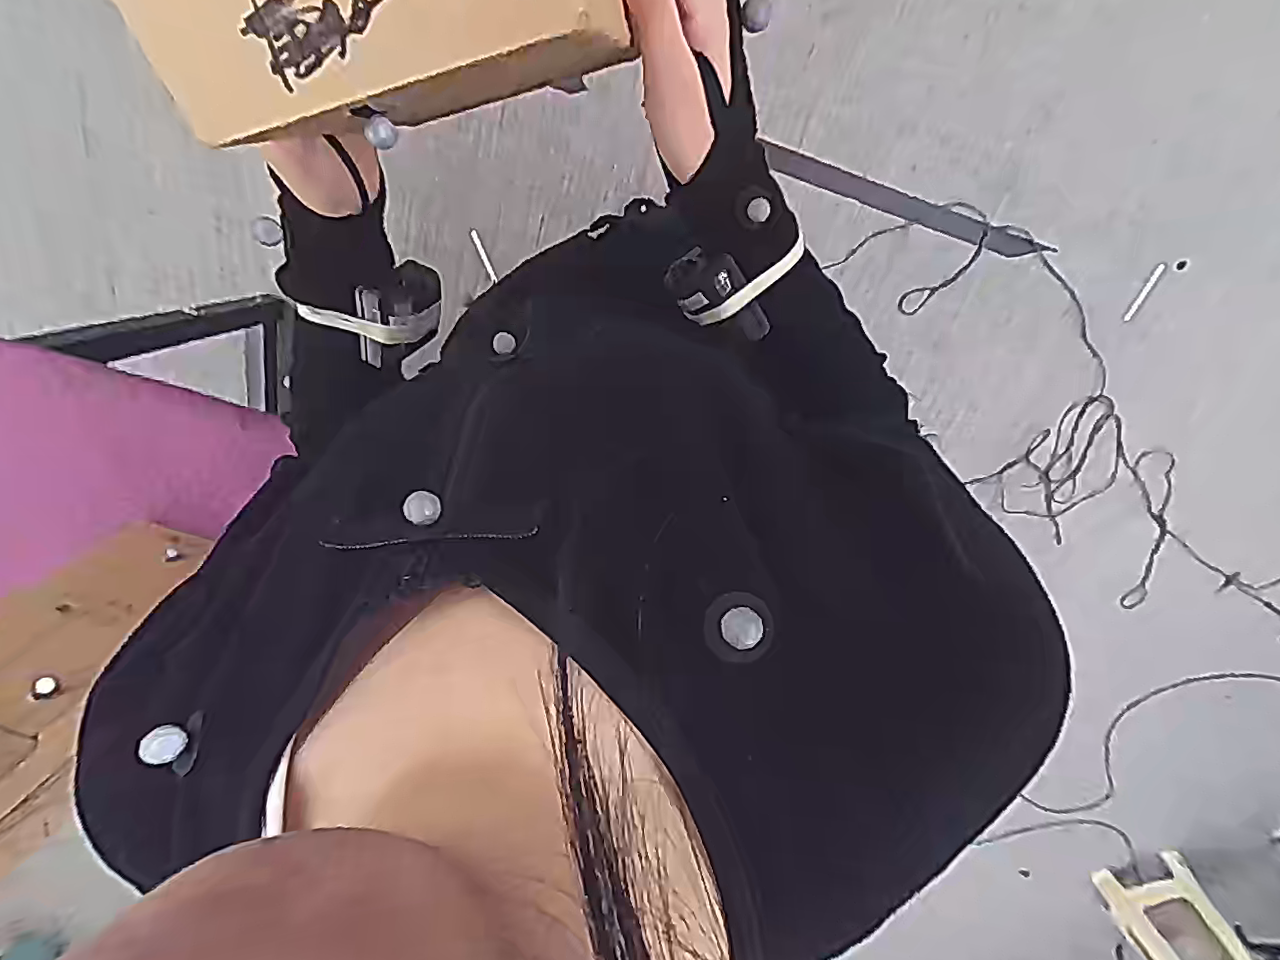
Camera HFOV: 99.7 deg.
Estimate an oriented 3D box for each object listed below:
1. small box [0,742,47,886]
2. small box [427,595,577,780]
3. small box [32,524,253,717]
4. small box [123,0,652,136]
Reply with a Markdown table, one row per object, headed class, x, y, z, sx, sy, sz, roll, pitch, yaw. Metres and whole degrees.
| class | x | y | z | sx | sy | sz | roll | pitch | yaw |
| --- | --- | --- | --- | --- | --- | --- | --- | --- | --- |
| small box | -0.690 | 0.329 | 0.475 | 0.168 | 0.176 | 0.179 | 23 | 114 | -9 |
| small box | -0.201 | 0.308 | 0.821 | 0.168 | 0.176 | 0.179 | 17 | 113 | -7 |
| small box | -0.693 | 0.195 | 0.773 | 0.168 | 0.176 | 0.179 | 21 | 113 | -10 |
| small box | -0.098 | -0.256 | 0.212 | 0.168 | 0.176 | 0.179 | -5 | 124 | 14 |
